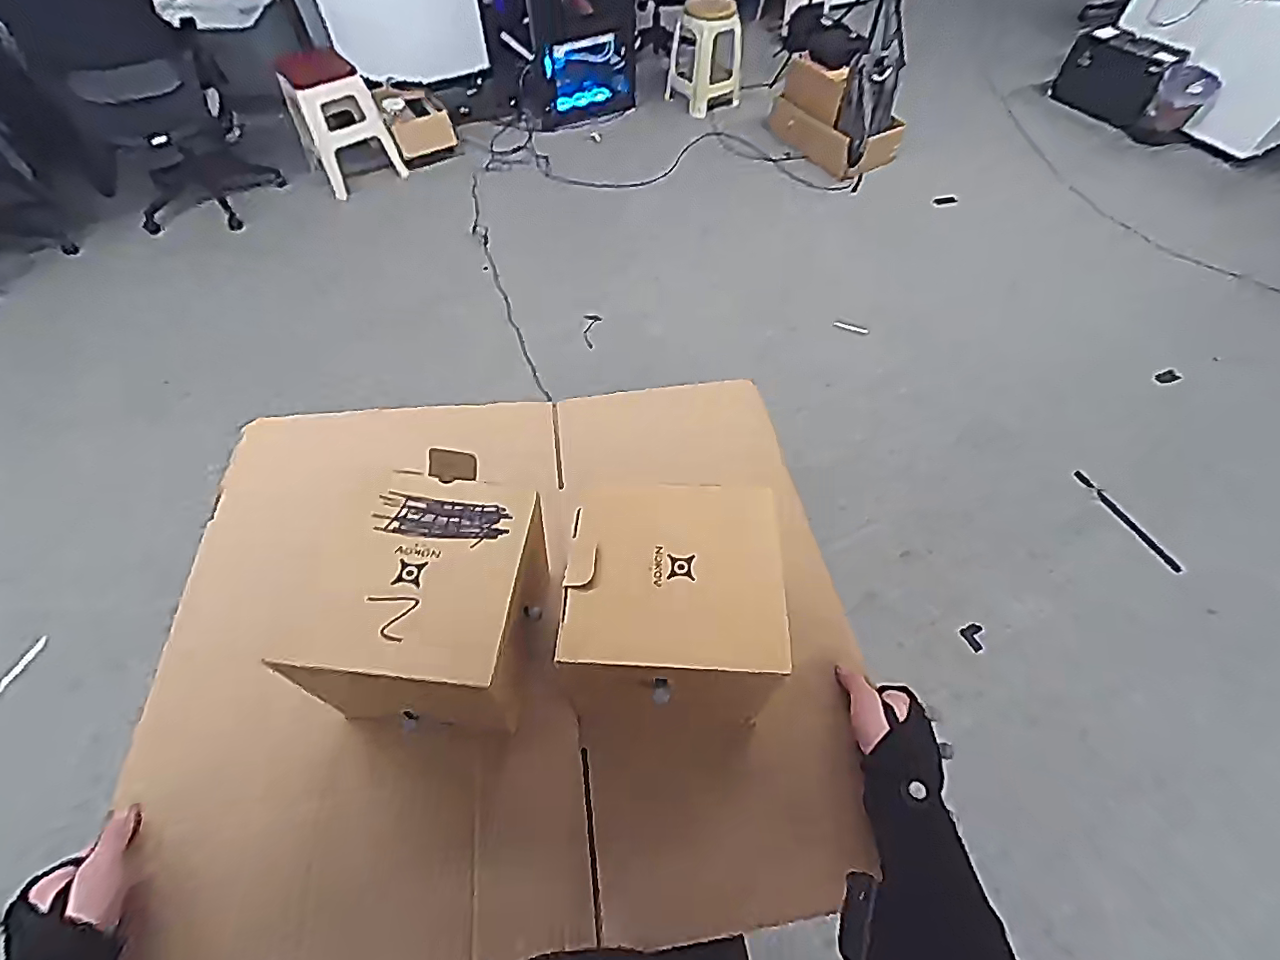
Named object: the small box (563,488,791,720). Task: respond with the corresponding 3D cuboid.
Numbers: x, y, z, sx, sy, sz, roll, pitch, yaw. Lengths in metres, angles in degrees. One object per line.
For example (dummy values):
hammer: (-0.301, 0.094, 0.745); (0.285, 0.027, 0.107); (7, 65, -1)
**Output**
small box: (0.034, 0.124, 0.518); (0.179, 0.176, 0.168); (2, 55, 3)
